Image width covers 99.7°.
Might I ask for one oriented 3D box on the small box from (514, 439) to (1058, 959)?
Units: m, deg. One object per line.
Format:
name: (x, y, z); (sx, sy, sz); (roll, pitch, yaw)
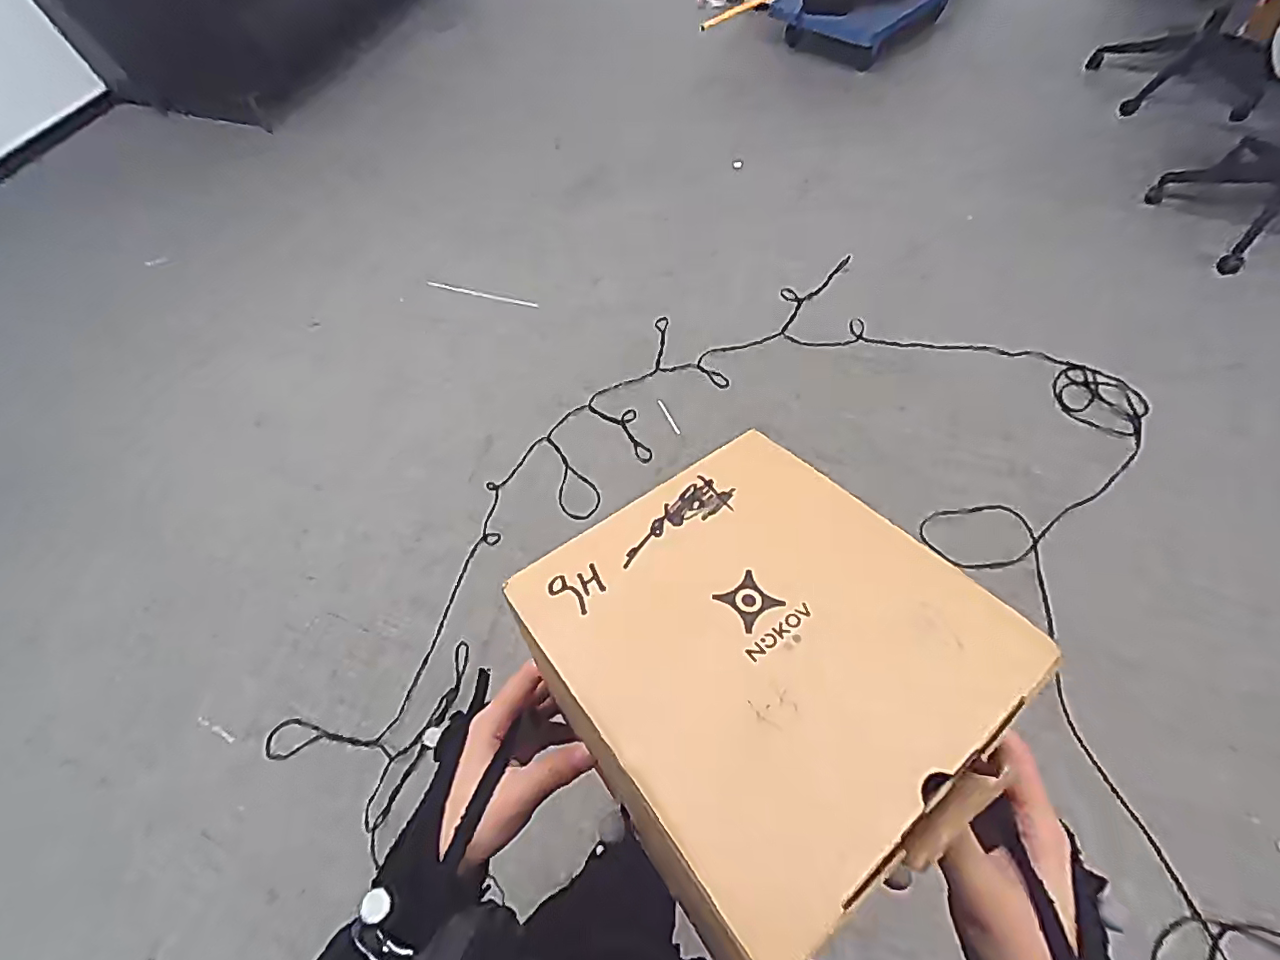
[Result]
small box: (0.058, 0.116, 0.296); (0.168, 0.176, 0.179); (-29, 52, -21)
